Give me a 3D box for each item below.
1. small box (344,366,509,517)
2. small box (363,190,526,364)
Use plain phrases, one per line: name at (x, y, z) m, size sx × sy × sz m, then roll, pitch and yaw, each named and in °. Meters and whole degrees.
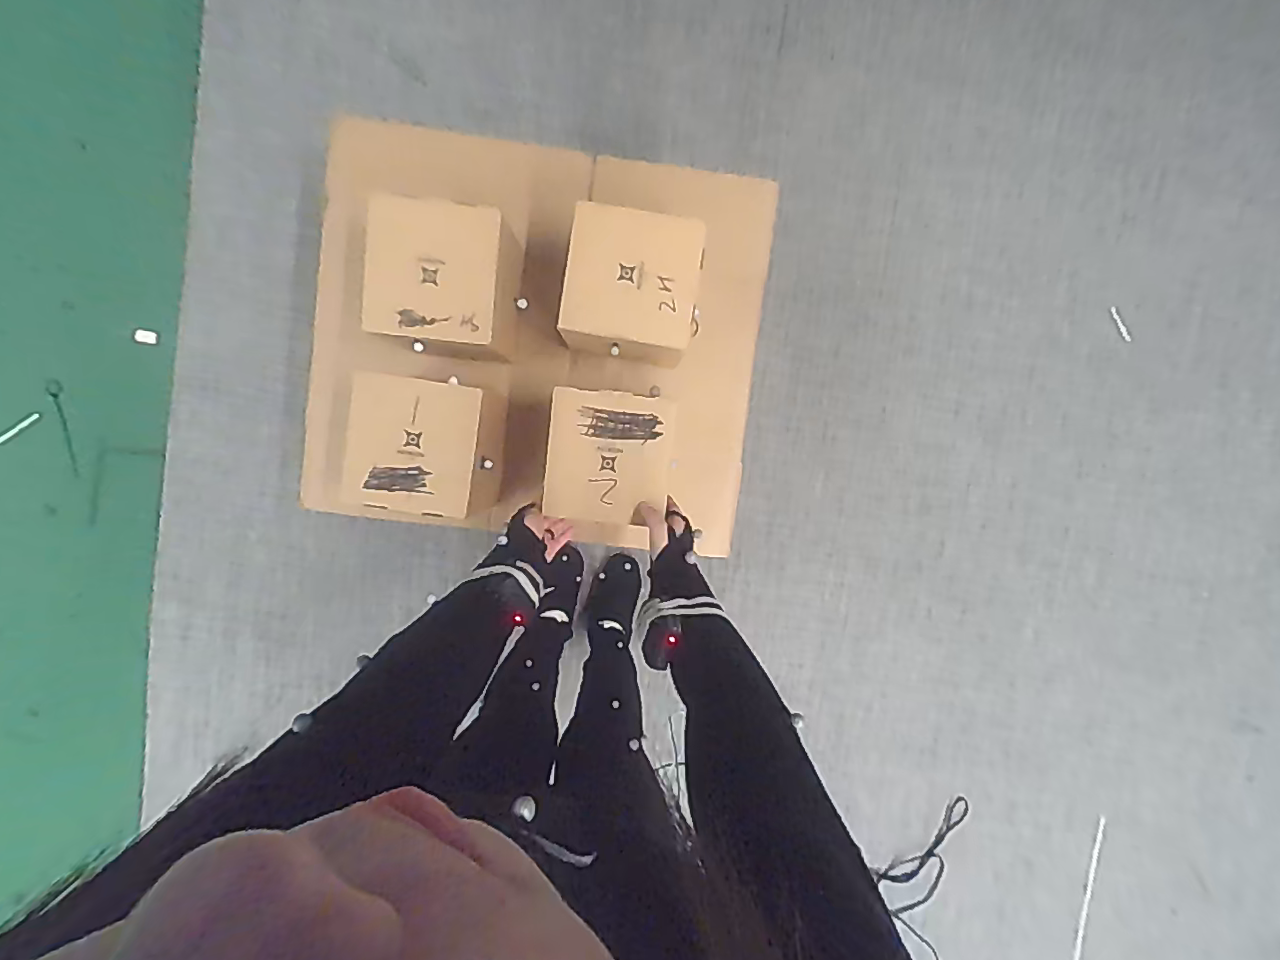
small box at (-0.295, -0.054, 0.780) m, size 0.168 × 0.176 × 0.179 m, roll 9°, pitch 93°, yaw -2°
small box at (-0.263, -0.273, 0.764) m, size 0.168 × 0.176 × 0.179 m, roll 6°, pitch 92°, yaw -1°
